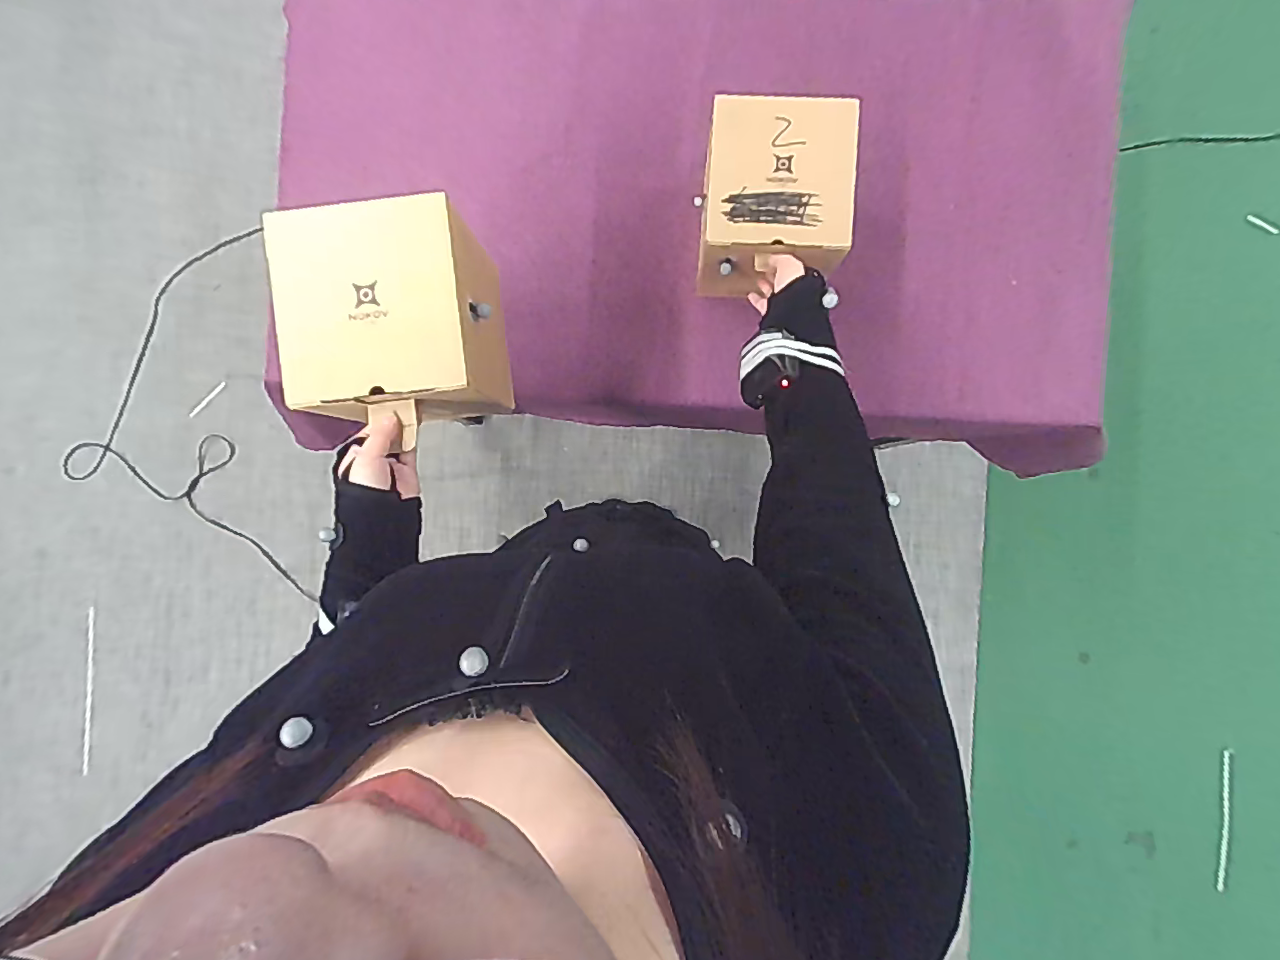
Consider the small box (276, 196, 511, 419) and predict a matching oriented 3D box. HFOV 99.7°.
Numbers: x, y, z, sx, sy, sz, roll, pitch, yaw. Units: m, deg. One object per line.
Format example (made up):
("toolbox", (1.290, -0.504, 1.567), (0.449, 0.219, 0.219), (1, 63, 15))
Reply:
("small box", (-0.244, -0.167, 0.574), (0.168, 0.176, 0.179), (-6, 91, 0))
